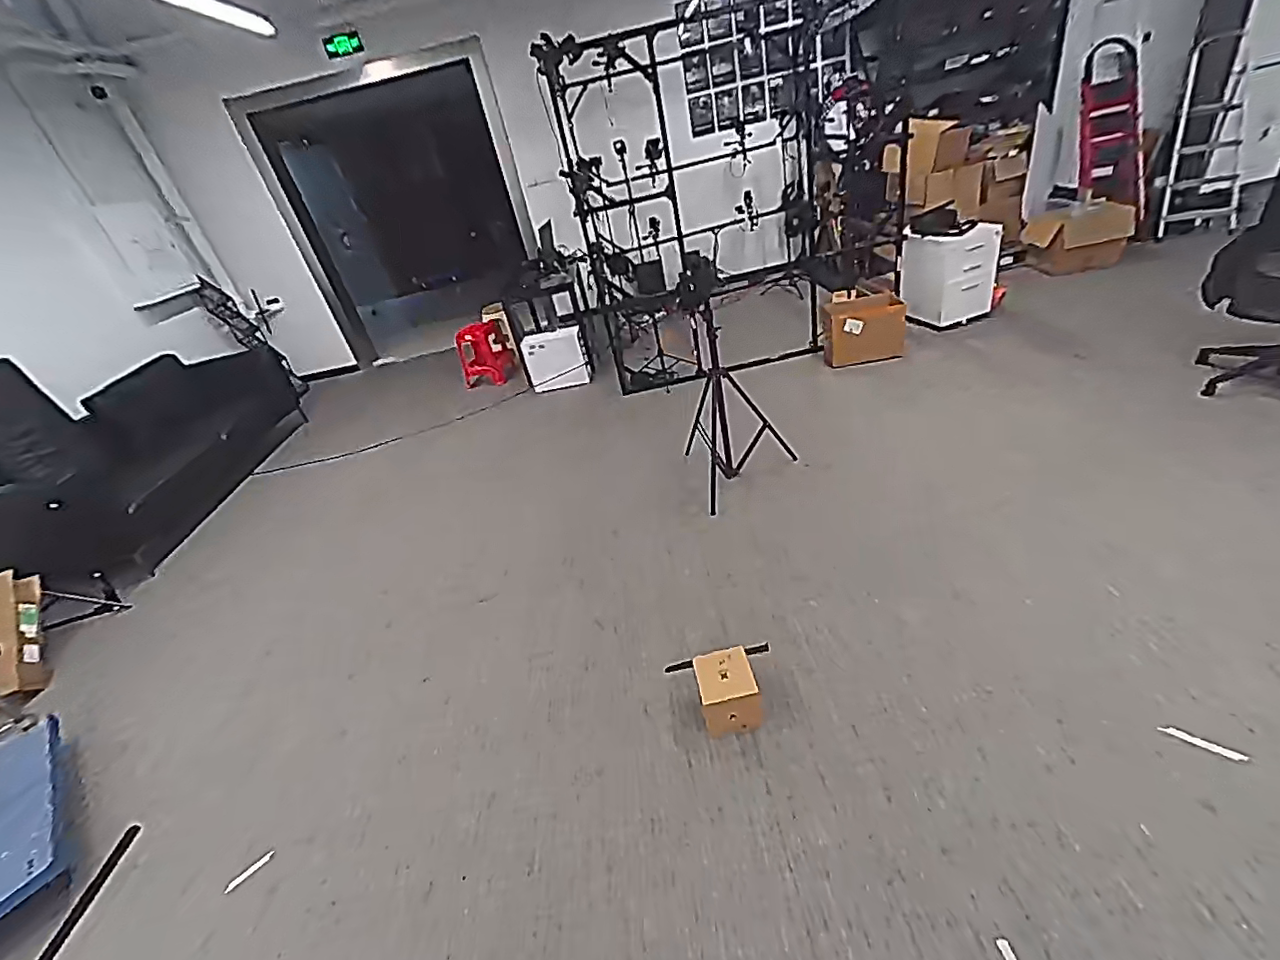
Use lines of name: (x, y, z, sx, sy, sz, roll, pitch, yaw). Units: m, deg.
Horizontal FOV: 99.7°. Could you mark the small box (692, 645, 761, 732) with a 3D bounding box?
small box: (0.266, 0.644, 1.656, 0.168, 0.176, 0.179, -13, 31, 1)
